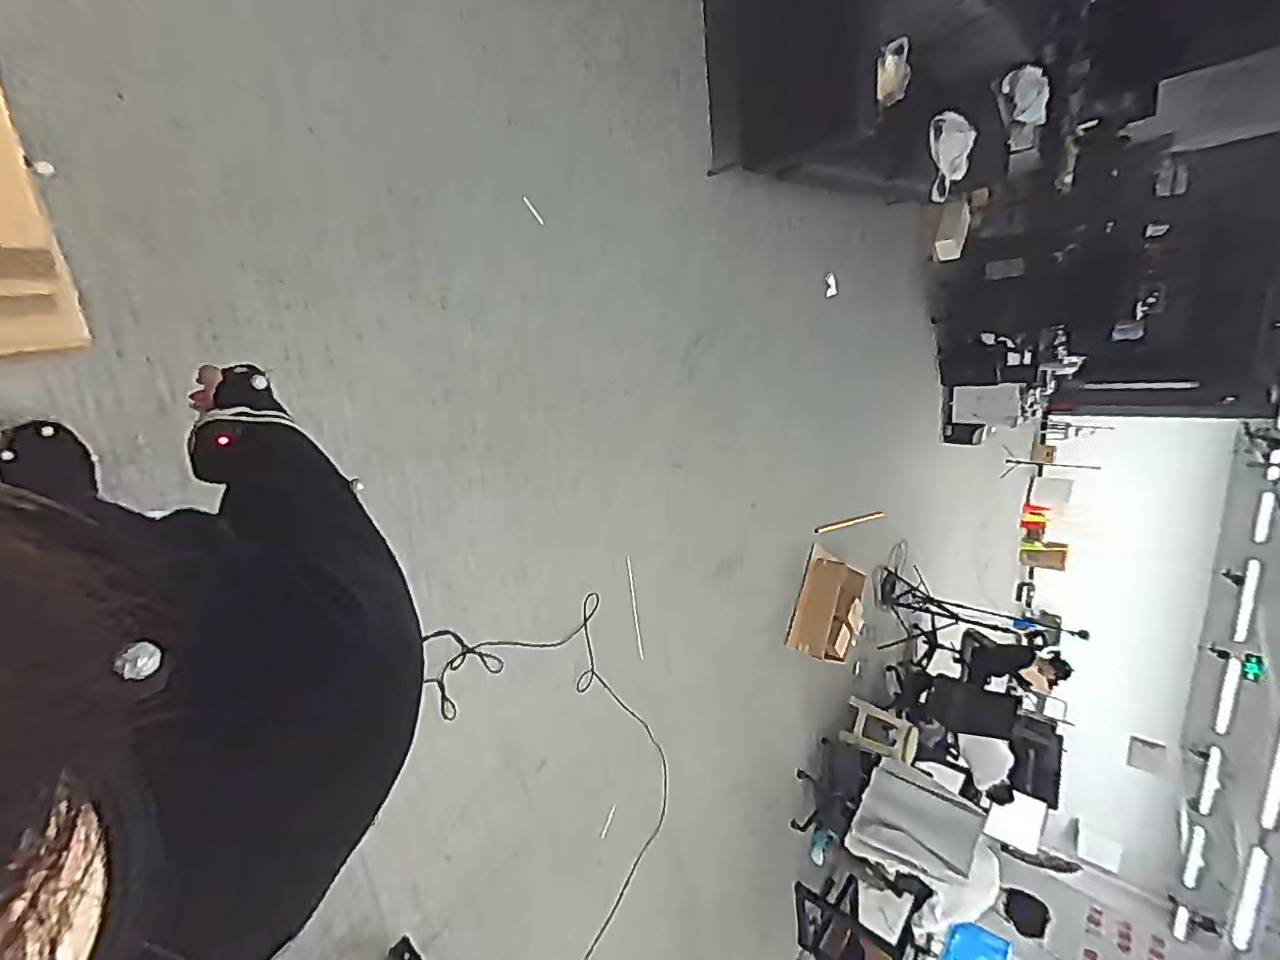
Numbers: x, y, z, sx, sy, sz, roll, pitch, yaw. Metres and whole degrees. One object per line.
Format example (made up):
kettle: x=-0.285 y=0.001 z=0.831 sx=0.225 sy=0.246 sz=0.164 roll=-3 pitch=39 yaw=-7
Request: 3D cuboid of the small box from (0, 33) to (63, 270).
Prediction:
small box: x=-0.651 y=-0.295 z=0.475 sx=0.168 sy=0.176 sz=0.179 roll=-18 pitch=109 yaw=-43
